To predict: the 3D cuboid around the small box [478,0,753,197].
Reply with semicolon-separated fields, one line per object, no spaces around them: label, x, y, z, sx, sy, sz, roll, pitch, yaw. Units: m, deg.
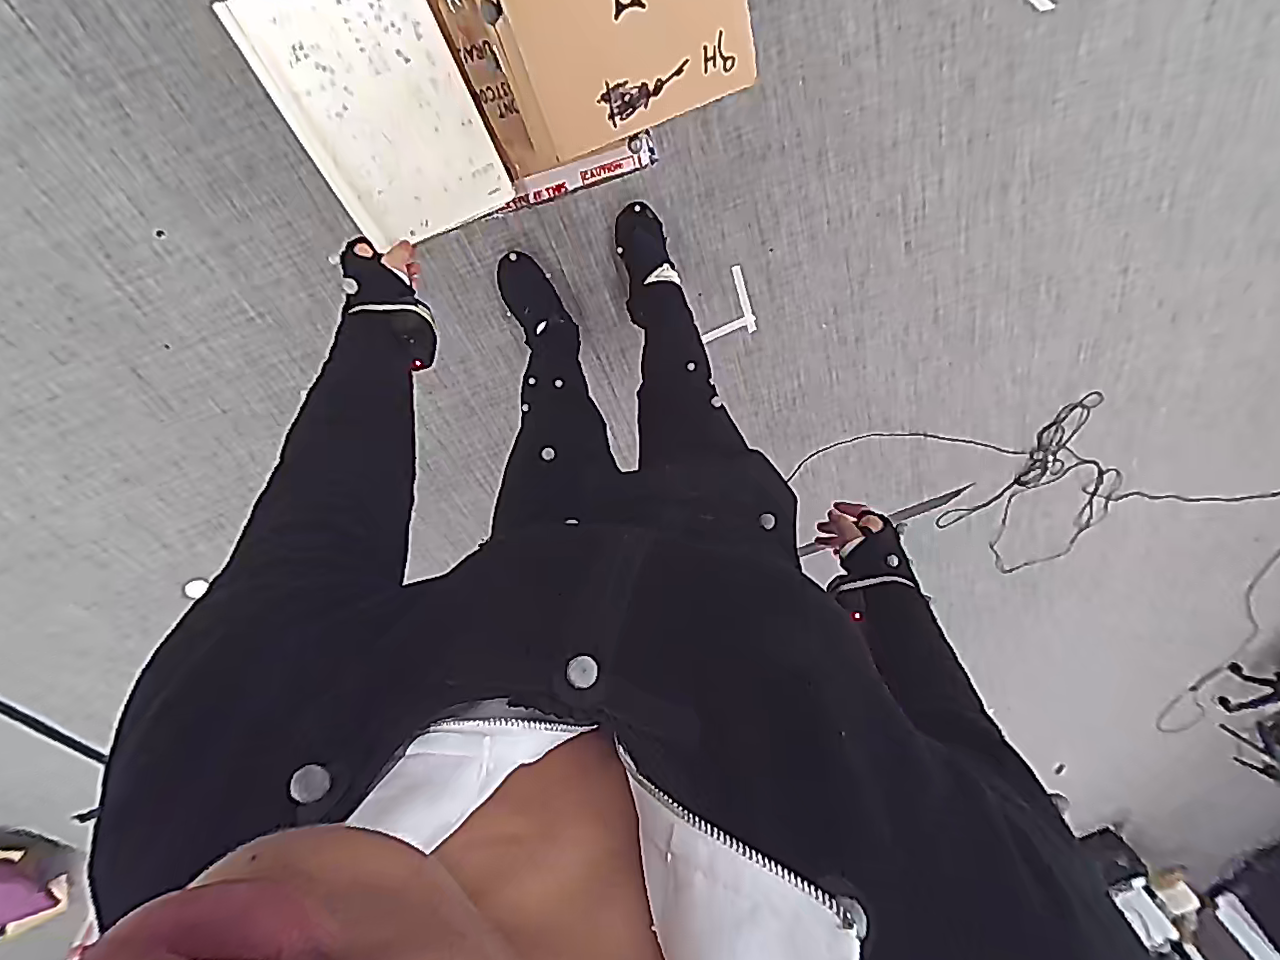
small box;-0.028;-0.358;0.446;0.168;0.176;0.179;-22;125;0
